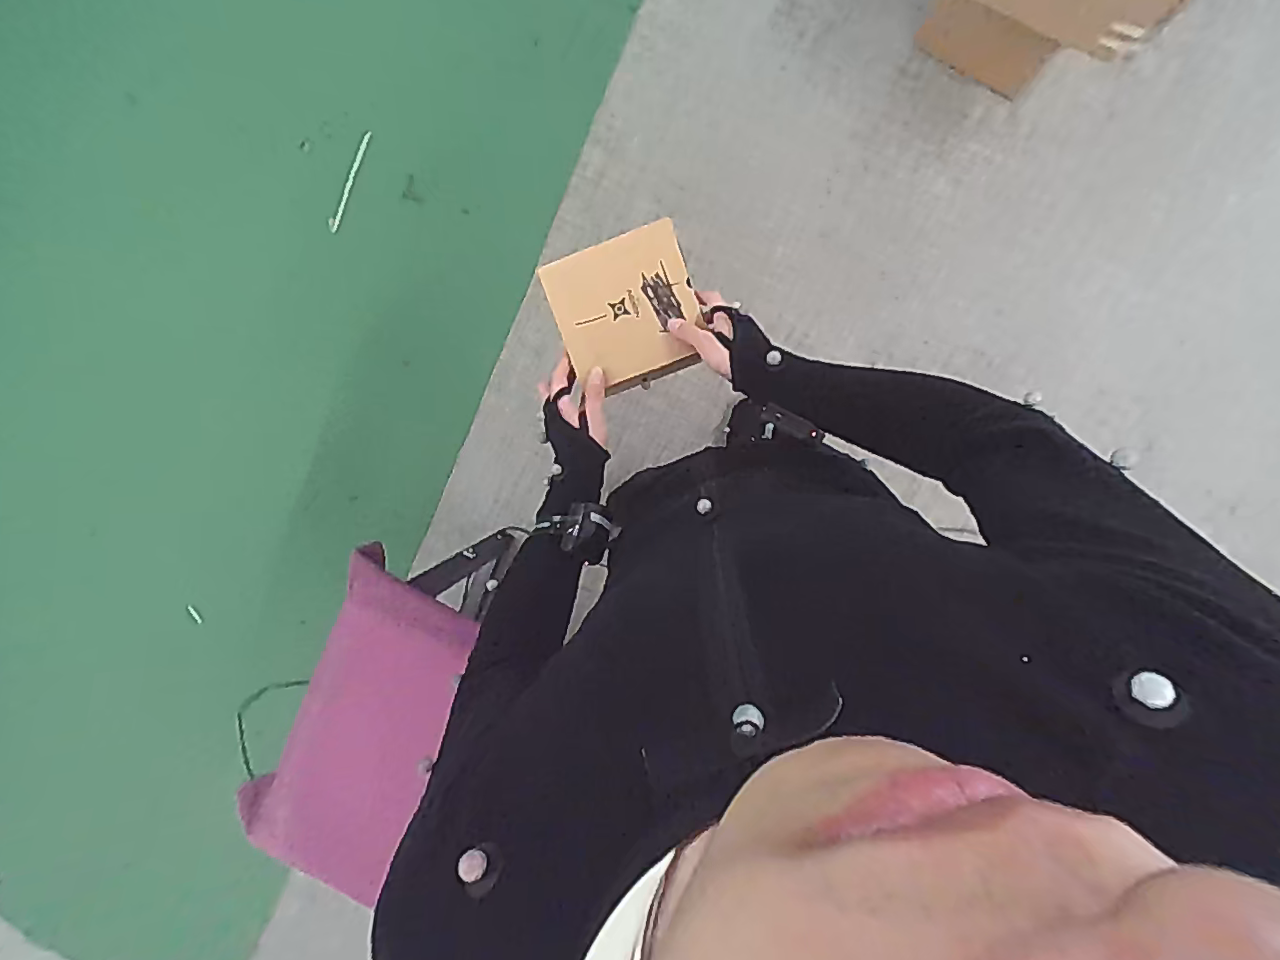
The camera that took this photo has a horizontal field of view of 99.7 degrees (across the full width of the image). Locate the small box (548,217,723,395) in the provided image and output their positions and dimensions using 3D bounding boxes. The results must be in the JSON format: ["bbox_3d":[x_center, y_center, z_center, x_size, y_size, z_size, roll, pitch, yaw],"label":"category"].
[{"bbox_3d":[-0.004,-0.219,0.728,0.179,0.176,0.168,-19,96,4],"label":"small box"}]
